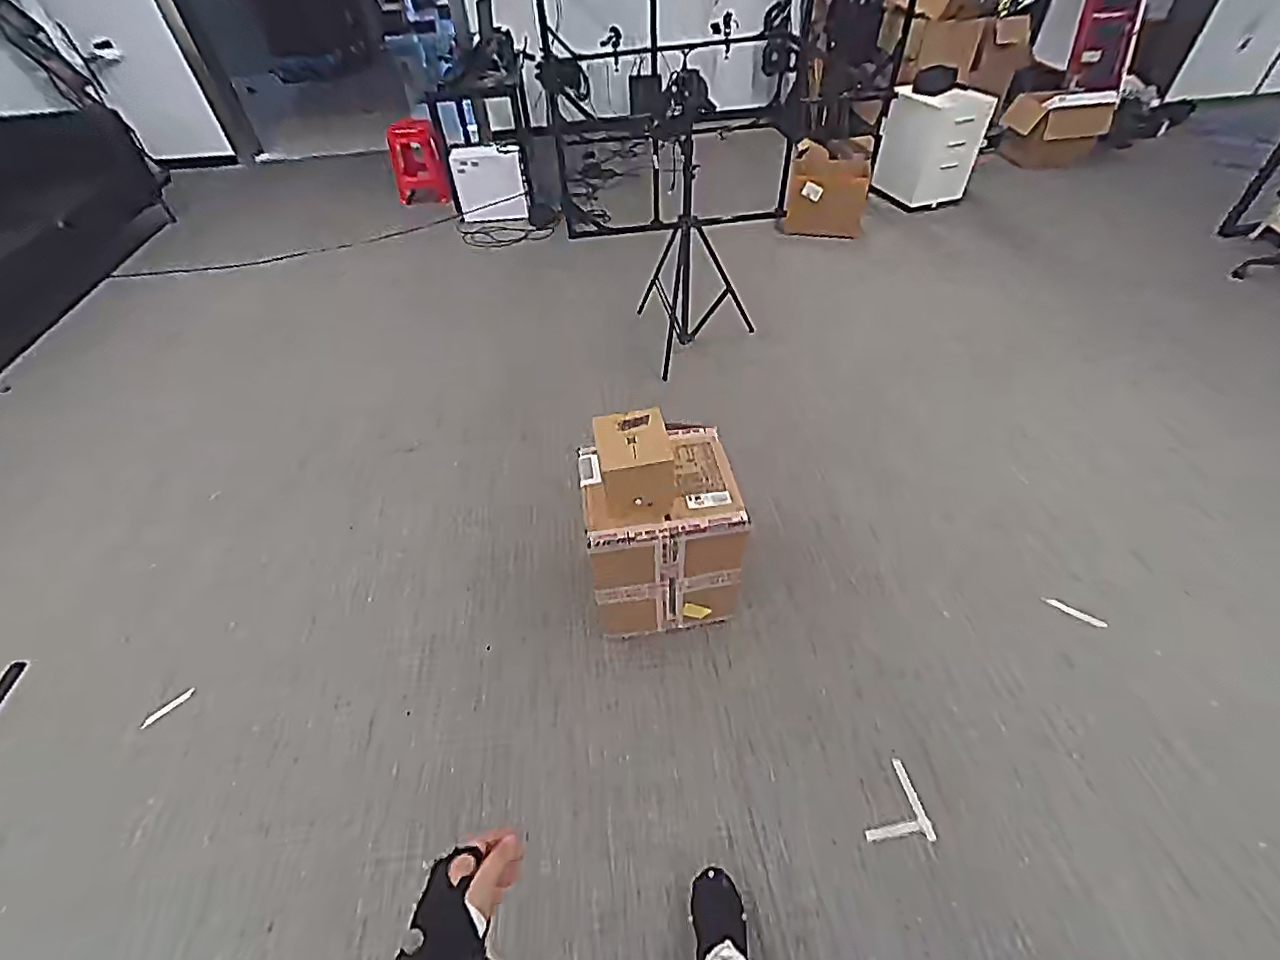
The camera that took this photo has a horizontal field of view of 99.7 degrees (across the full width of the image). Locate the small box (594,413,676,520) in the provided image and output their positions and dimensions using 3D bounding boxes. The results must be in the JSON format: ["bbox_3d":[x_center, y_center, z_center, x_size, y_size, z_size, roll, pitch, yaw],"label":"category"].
[{"bbox_3d":[-0.013,-0.031,1.287,0.168,0.176,0.179,-10,50,-4],"label":"small box"}]
